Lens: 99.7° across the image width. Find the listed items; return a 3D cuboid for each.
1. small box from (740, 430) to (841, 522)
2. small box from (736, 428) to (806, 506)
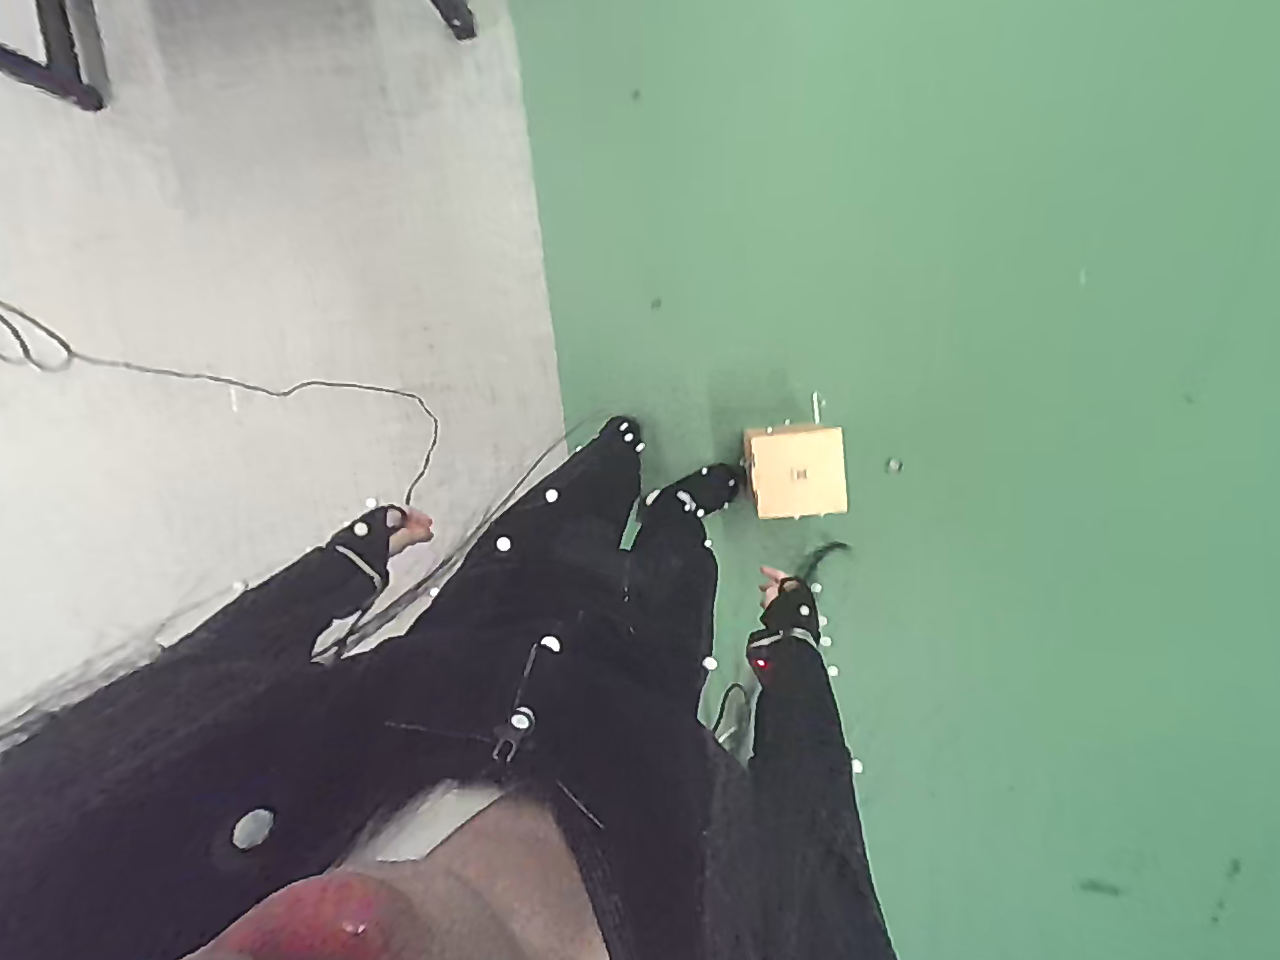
[{"bbox_3d":[0.313,-0.014,1.149,0.179,0.176,0.168,-6,97,7],"label":"small box"},{"bbox_3d":[0.330,-0.036,1.309,0.179,0.176,0.168,-5,96,7],"label":"small box"}]
